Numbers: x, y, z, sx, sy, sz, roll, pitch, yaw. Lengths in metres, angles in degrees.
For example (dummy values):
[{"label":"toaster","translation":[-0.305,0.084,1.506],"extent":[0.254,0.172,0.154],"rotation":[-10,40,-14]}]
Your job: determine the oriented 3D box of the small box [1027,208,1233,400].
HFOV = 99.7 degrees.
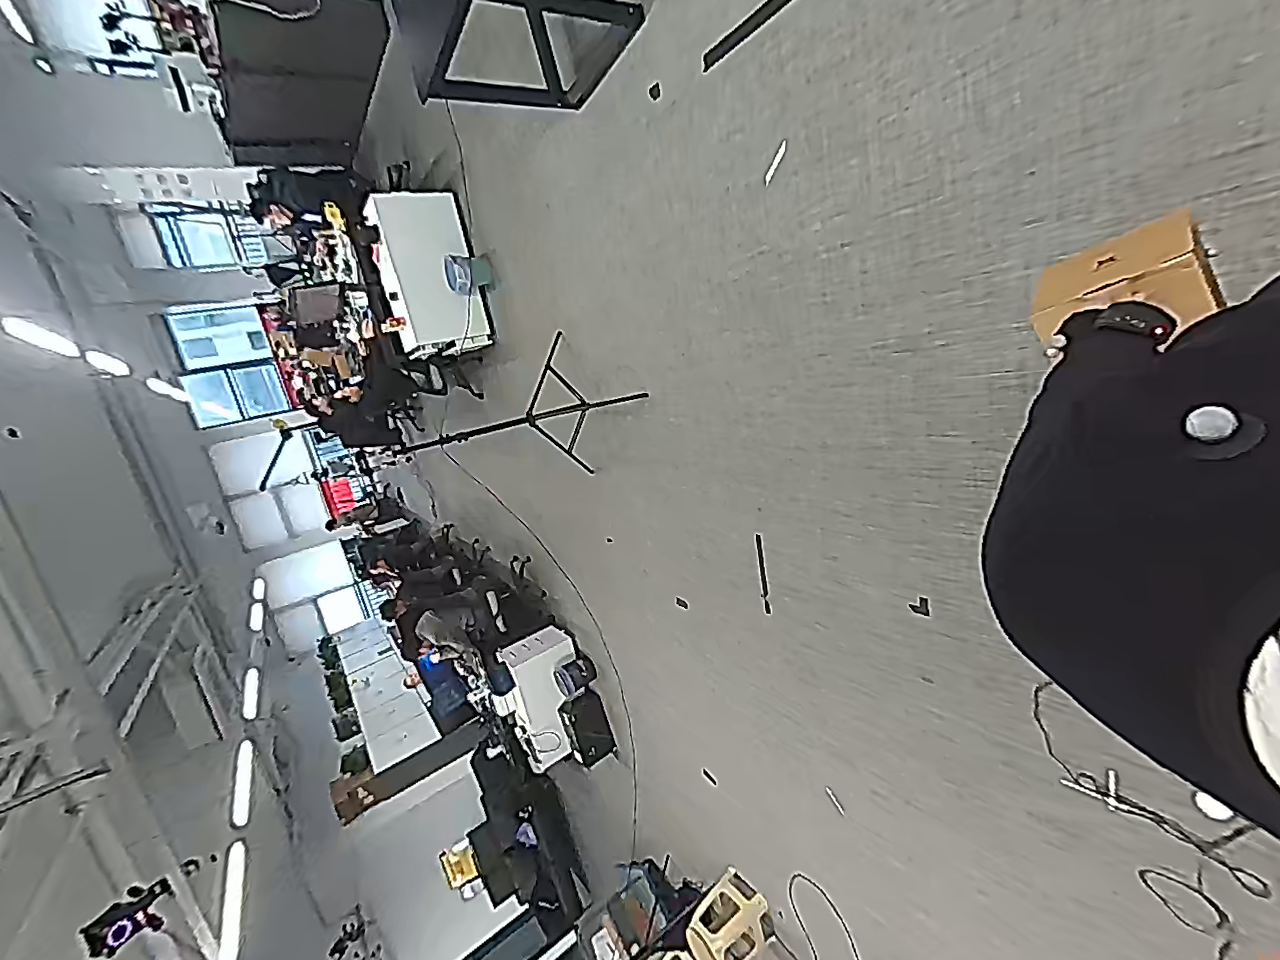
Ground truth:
[{"label":"small box","translation":[0.672,-0.229,0.746],"extent":[0.168,0.179,0.176],"rotation":[-19,112,51]}]
